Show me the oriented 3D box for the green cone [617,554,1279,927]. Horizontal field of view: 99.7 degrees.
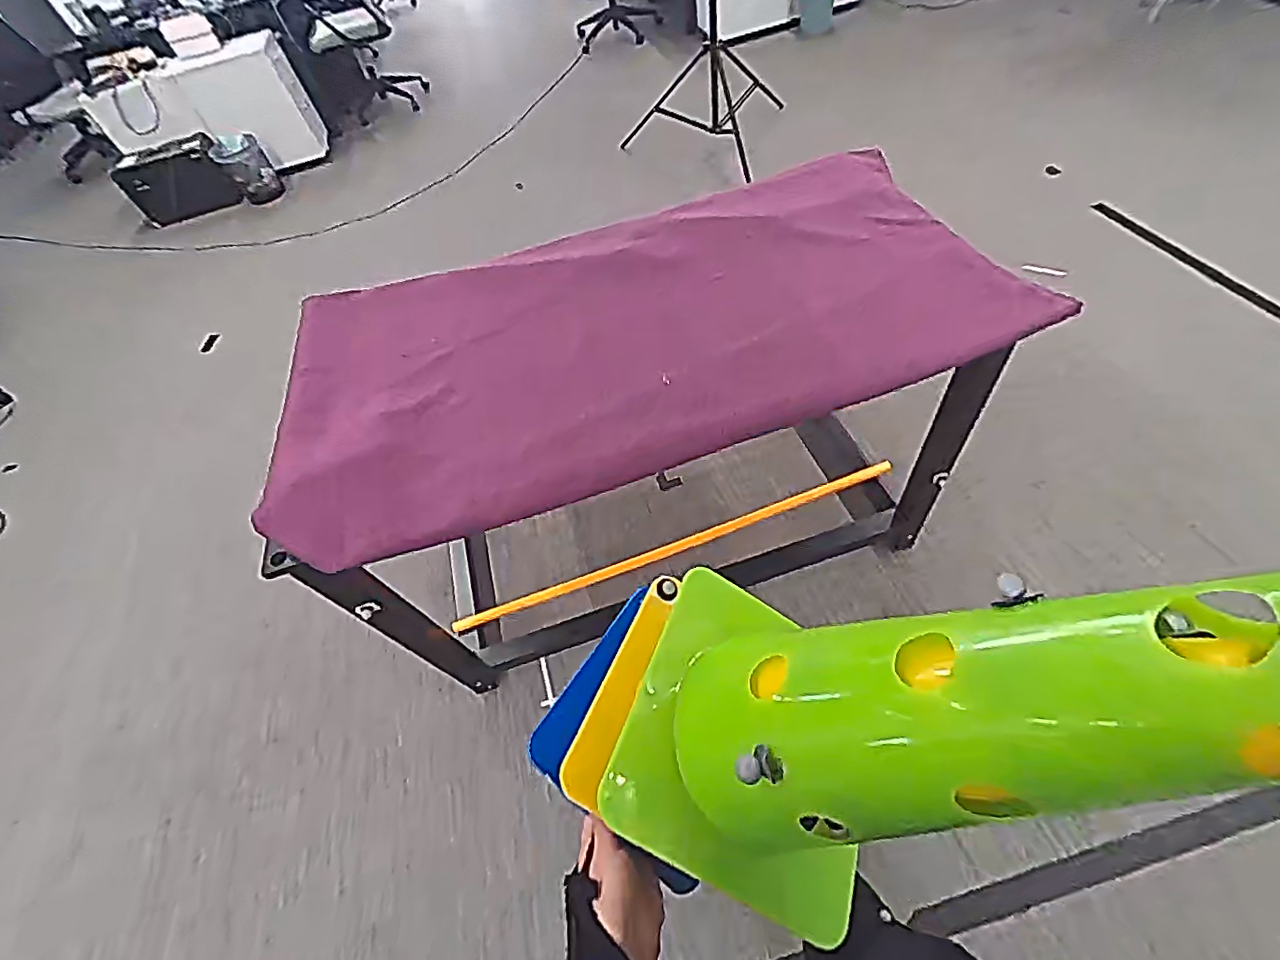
[{"bbox_3d":[0.165,0.100,0.260,0.200,0.368,0.202,33,54,-7],"label":"green cone"}]
